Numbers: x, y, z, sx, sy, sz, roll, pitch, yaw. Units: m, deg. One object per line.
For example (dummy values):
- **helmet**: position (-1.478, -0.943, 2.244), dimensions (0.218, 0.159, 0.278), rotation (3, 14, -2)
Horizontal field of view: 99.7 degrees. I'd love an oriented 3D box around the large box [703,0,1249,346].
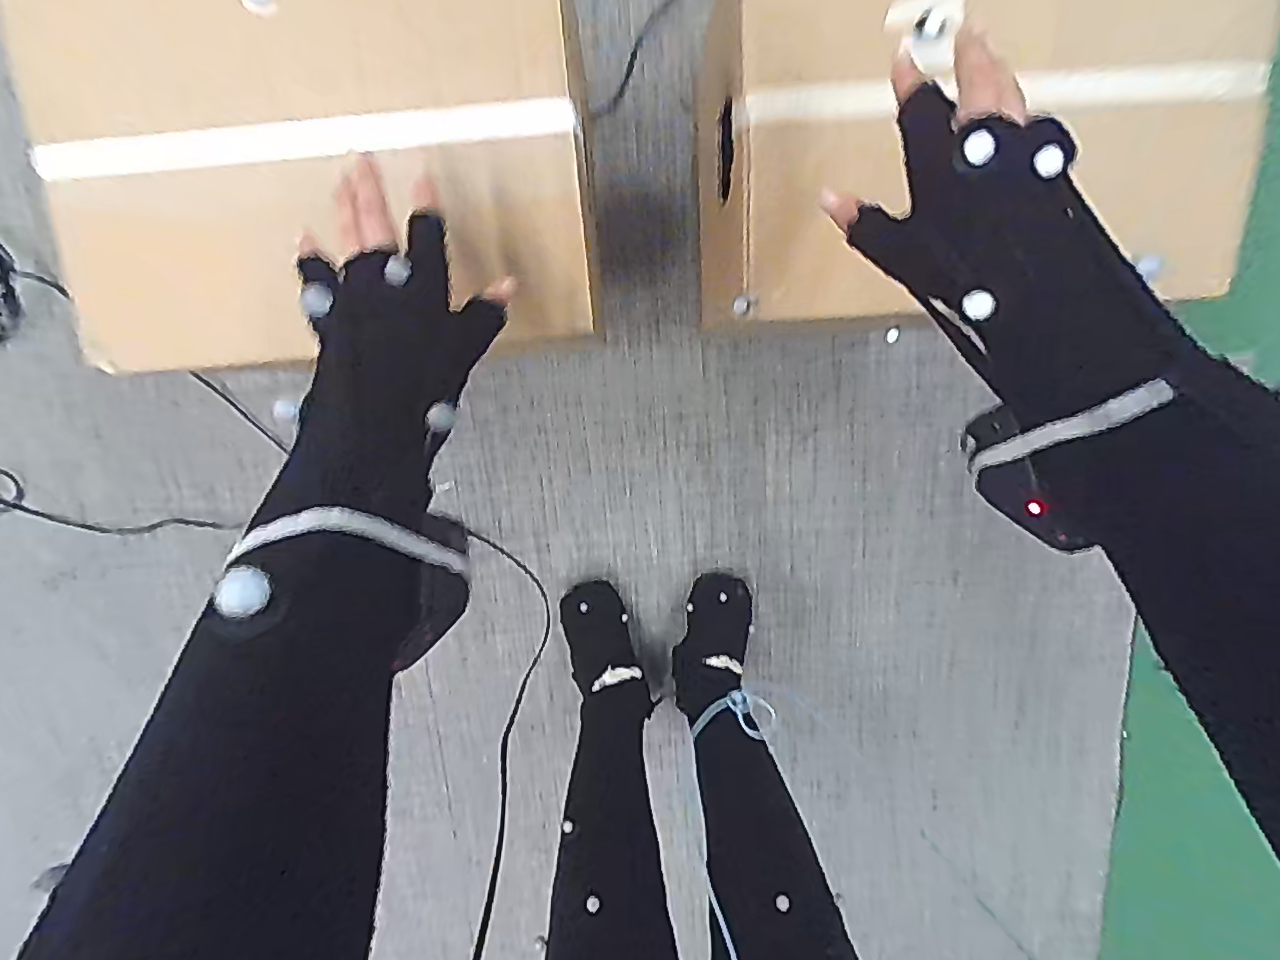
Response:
- **large box**: position (0.289, -0.318, 0.595), dimensions (0.408, 0.320, 0.320), rotation (-2, 101, 0)
